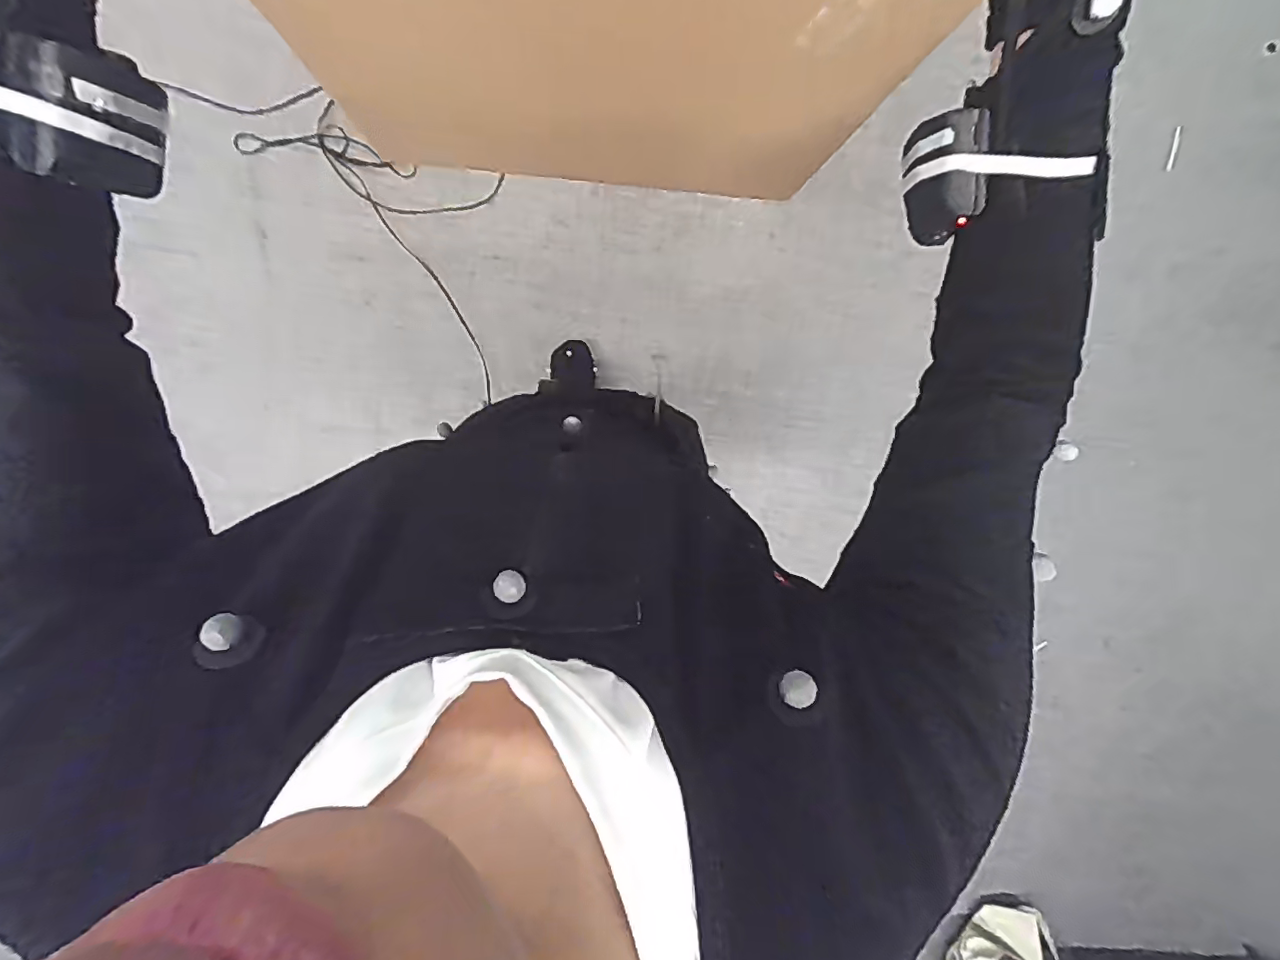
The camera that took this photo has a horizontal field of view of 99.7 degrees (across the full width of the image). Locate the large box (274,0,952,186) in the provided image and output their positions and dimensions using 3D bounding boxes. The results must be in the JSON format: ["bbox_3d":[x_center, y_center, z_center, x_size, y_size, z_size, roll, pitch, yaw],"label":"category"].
[{"bbox_3d":[-0.024,-0.433,0.366,0.408,0.320,0.320,2,98,-7],"label":"large box"}]
